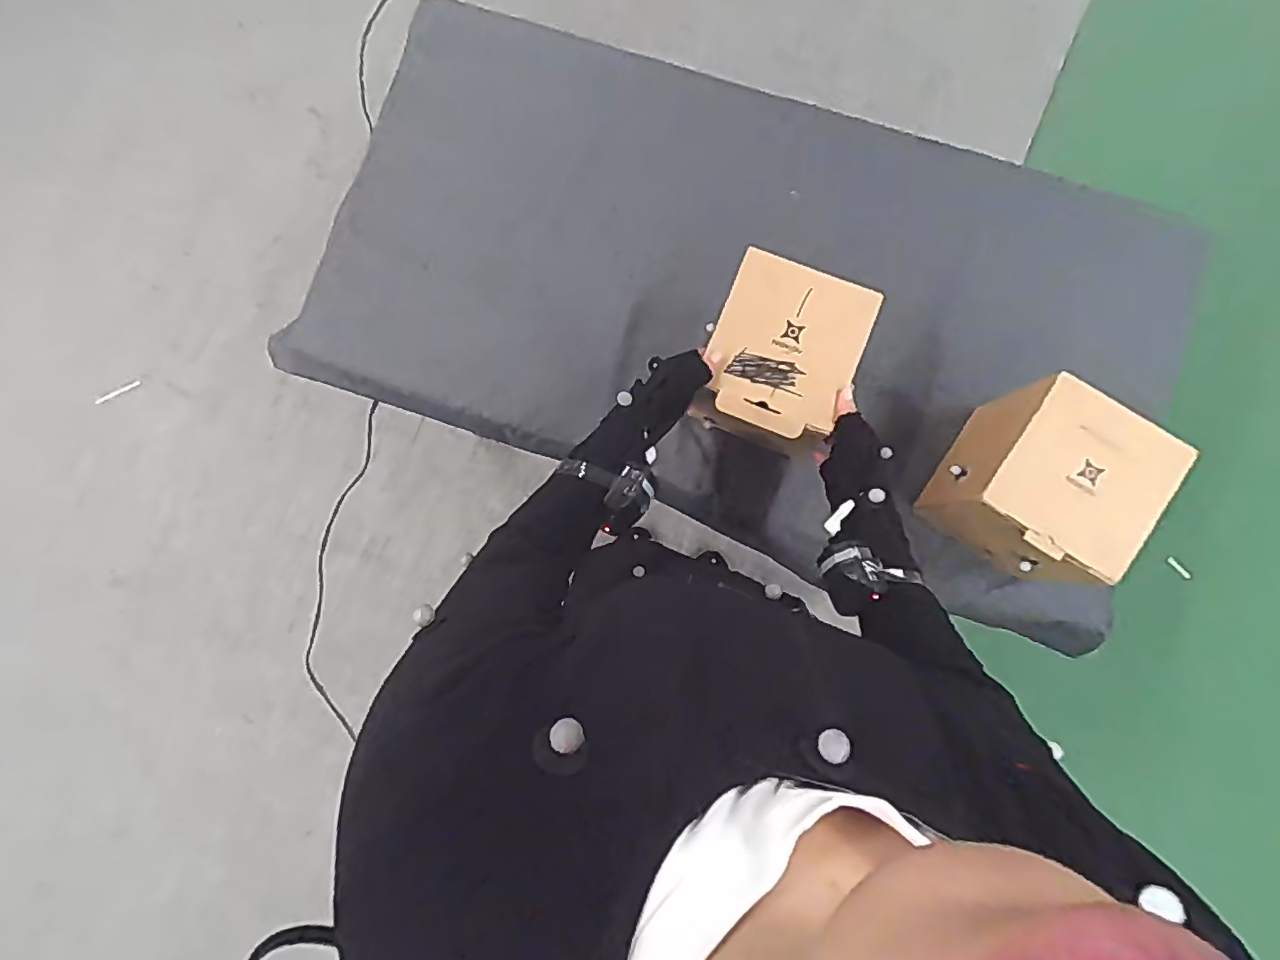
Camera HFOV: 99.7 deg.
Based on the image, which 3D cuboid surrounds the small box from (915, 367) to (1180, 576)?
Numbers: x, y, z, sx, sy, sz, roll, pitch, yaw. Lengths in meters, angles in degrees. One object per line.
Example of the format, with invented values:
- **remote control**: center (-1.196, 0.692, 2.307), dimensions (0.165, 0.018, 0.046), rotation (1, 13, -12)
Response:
- **small box**: center (0.475, -0.002, 0.666), dimensions (0.168, 0.176, 0.179), rotation (34, 85, 4)

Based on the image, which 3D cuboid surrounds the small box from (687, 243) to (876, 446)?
- **small box**: center (0.165, -0.157, 0.692), dimensions (0.168, 0.176, 0.179), rotation (22, 85, 4)
